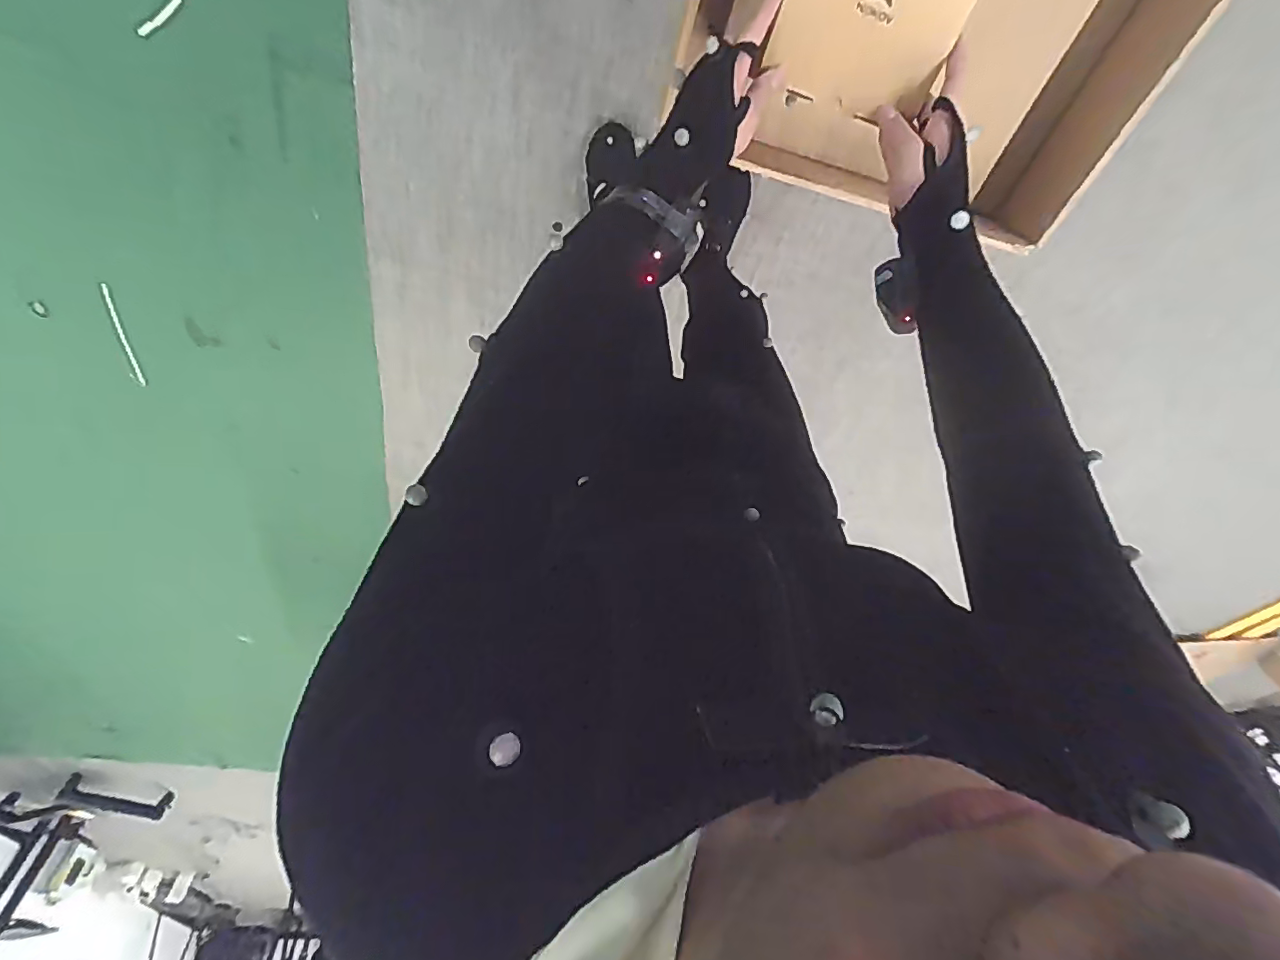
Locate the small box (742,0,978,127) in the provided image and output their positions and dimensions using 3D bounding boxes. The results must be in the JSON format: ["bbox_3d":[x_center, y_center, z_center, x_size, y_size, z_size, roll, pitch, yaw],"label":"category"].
[{"bbox_3d":[0.211,-0.478,0.523,0.168,0.176,0.179,11,130,-11],"label":"small box"}]
